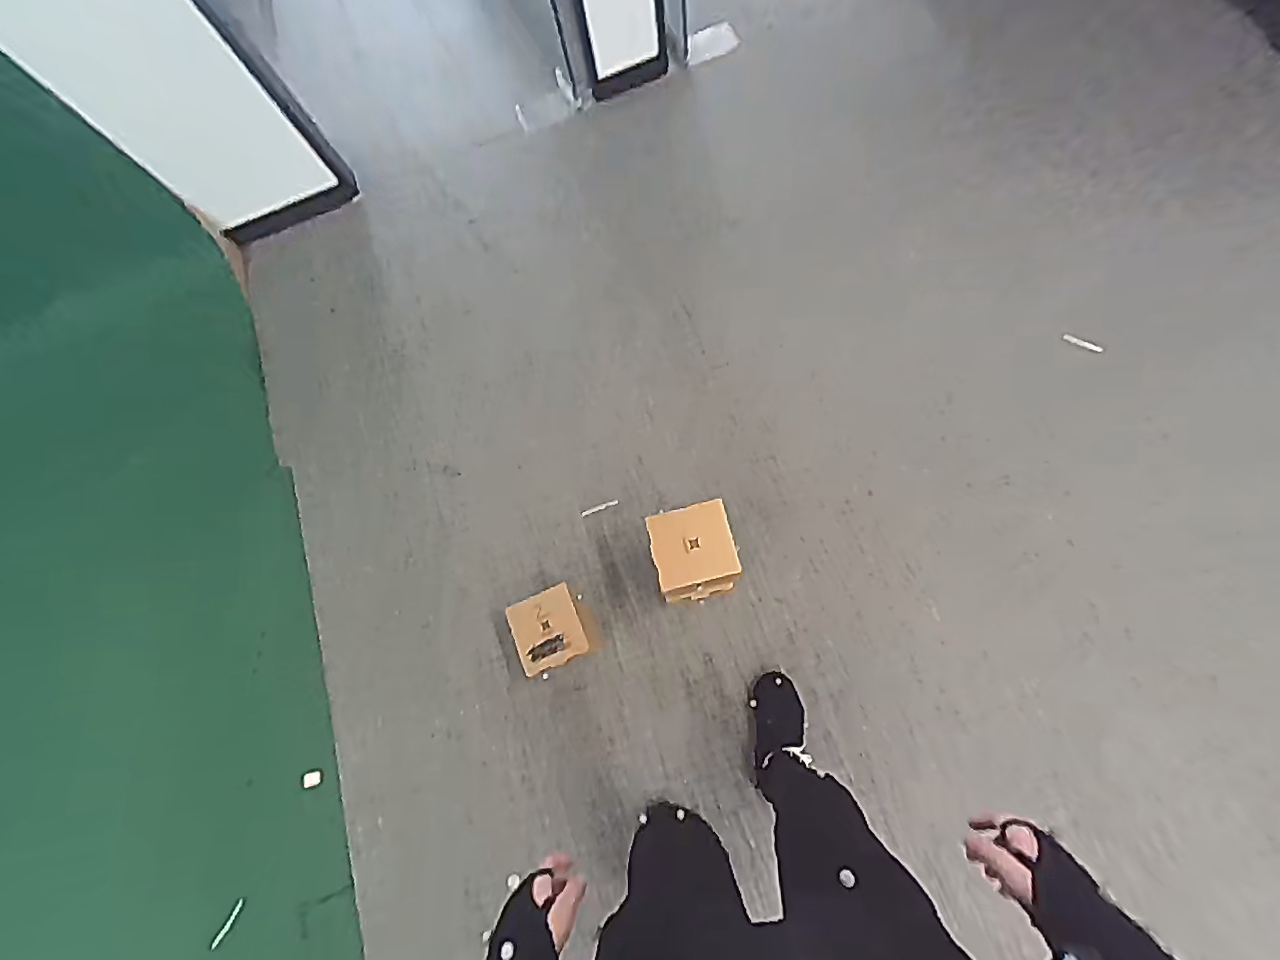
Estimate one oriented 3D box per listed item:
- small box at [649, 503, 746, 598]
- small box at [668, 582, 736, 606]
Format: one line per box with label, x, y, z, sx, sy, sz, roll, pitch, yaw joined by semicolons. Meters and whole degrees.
small box;0.130;0.164;1.227;0.179;0.176;0.168;-16;73;4
small box;0.144;0.220;1.379;0.168;0.176;0.179;-14;74;3
